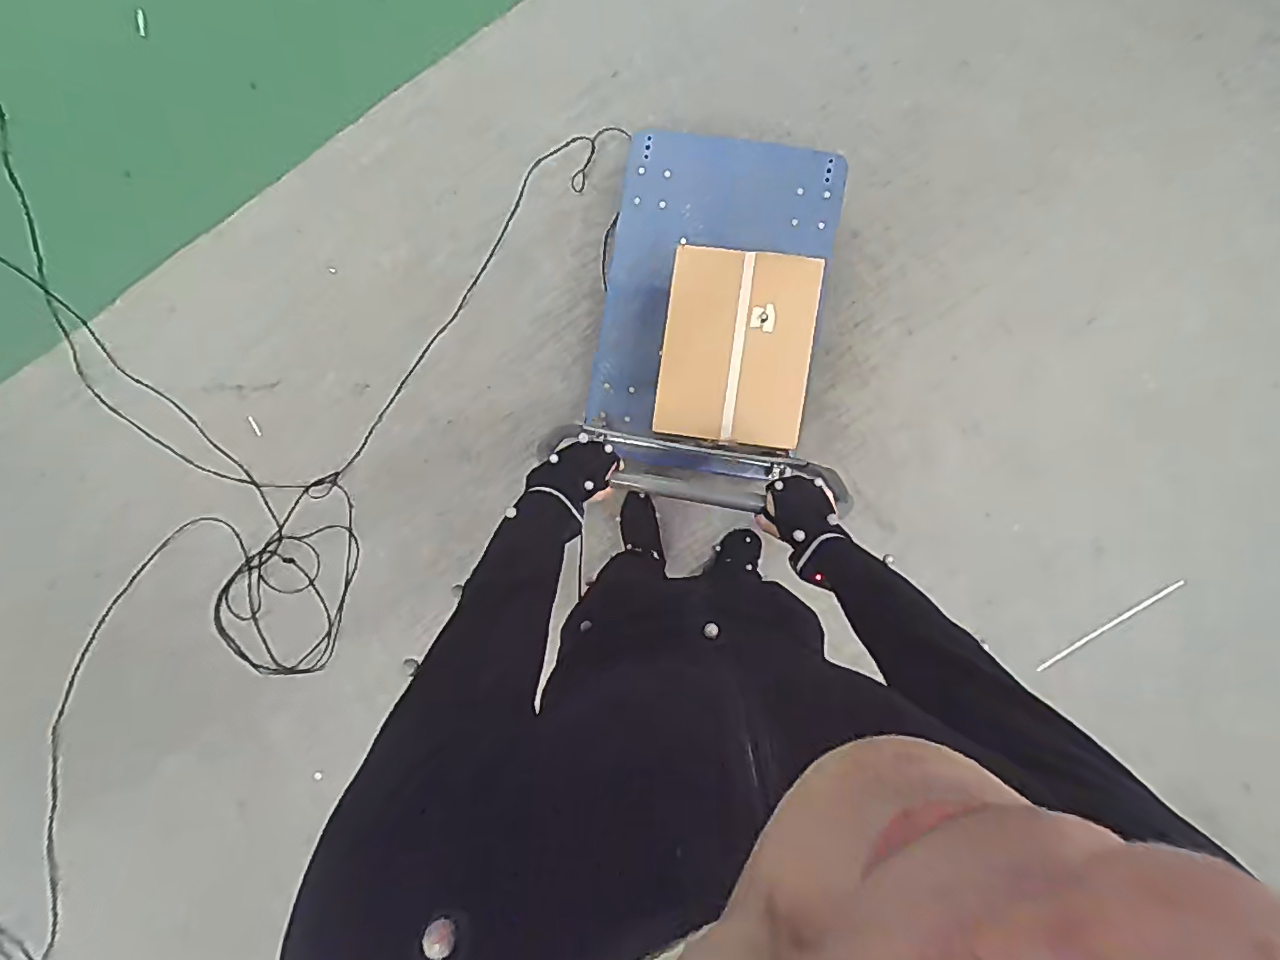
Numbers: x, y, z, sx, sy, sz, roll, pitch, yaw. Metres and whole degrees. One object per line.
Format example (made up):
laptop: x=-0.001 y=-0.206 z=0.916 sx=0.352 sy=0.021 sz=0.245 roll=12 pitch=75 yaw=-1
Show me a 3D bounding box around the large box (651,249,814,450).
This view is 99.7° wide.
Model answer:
large box: x=0.211 y=-0.291 z=1.319 sx=0.320 sy=0.320 sz=0.408 roll=8 pitch=92 yaw=3
